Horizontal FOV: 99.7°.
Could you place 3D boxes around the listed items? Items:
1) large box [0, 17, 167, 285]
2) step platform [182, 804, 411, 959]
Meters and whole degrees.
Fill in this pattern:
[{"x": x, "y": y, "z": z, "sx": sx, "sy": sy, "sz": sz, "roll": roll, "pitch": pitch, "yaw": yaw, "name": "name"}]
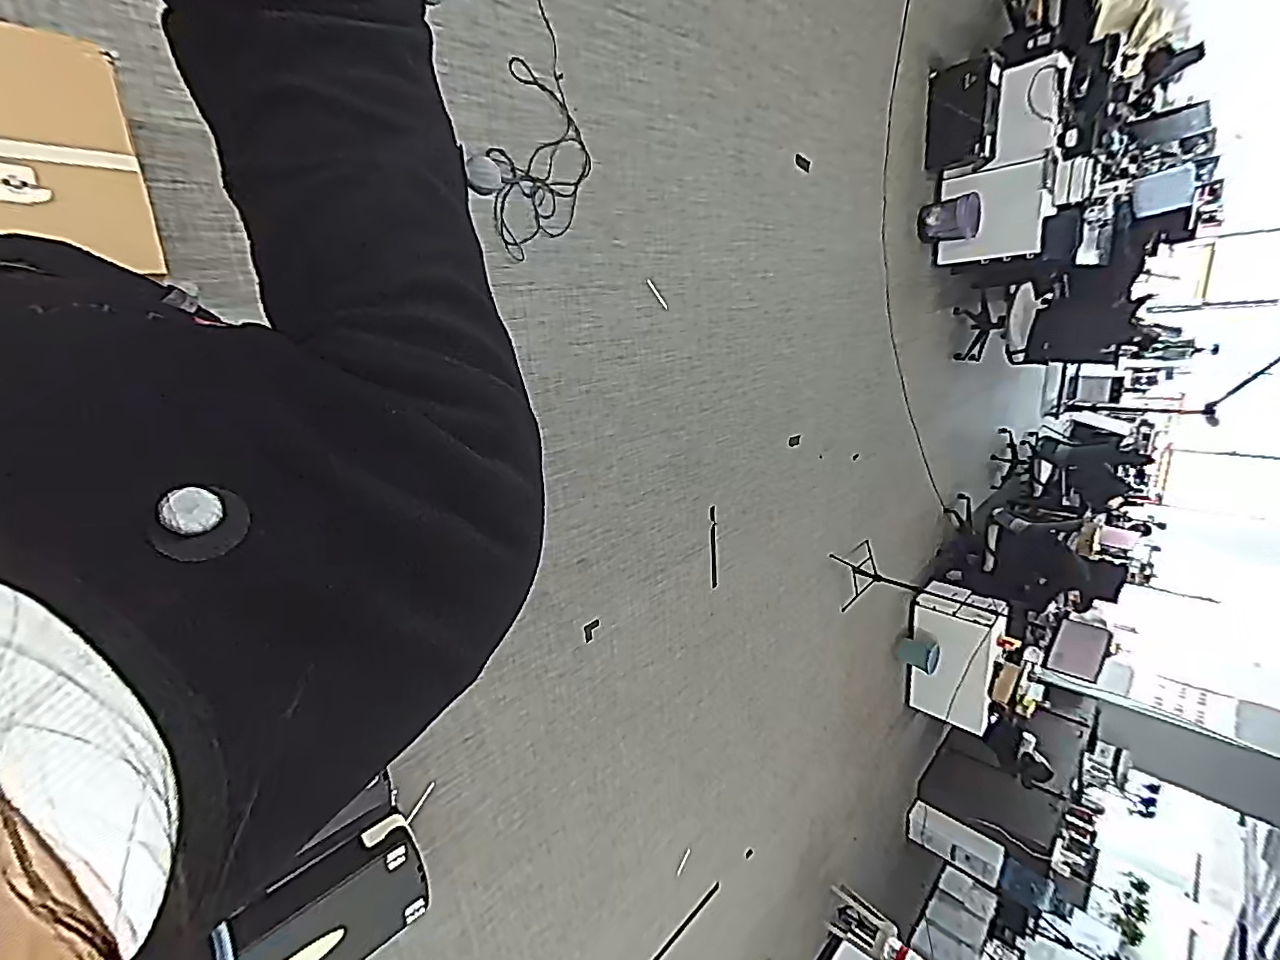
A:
[{"x": -1.010, "y": -0.466, "z": 0.797, "sx": 0.408, "sy": 0.320, "sz": 0.320, "roll": -17, "pitch": 111, "yaw": -42, "name": "large box"}, {"x": -0.924, "y": 1.140, "z": 1.309, "sx": 0.684, "sy": 0.204, "sz": 0.286, "roll": -21, "pitch": 113, "yaw": -38, "name": "step platform"}]
